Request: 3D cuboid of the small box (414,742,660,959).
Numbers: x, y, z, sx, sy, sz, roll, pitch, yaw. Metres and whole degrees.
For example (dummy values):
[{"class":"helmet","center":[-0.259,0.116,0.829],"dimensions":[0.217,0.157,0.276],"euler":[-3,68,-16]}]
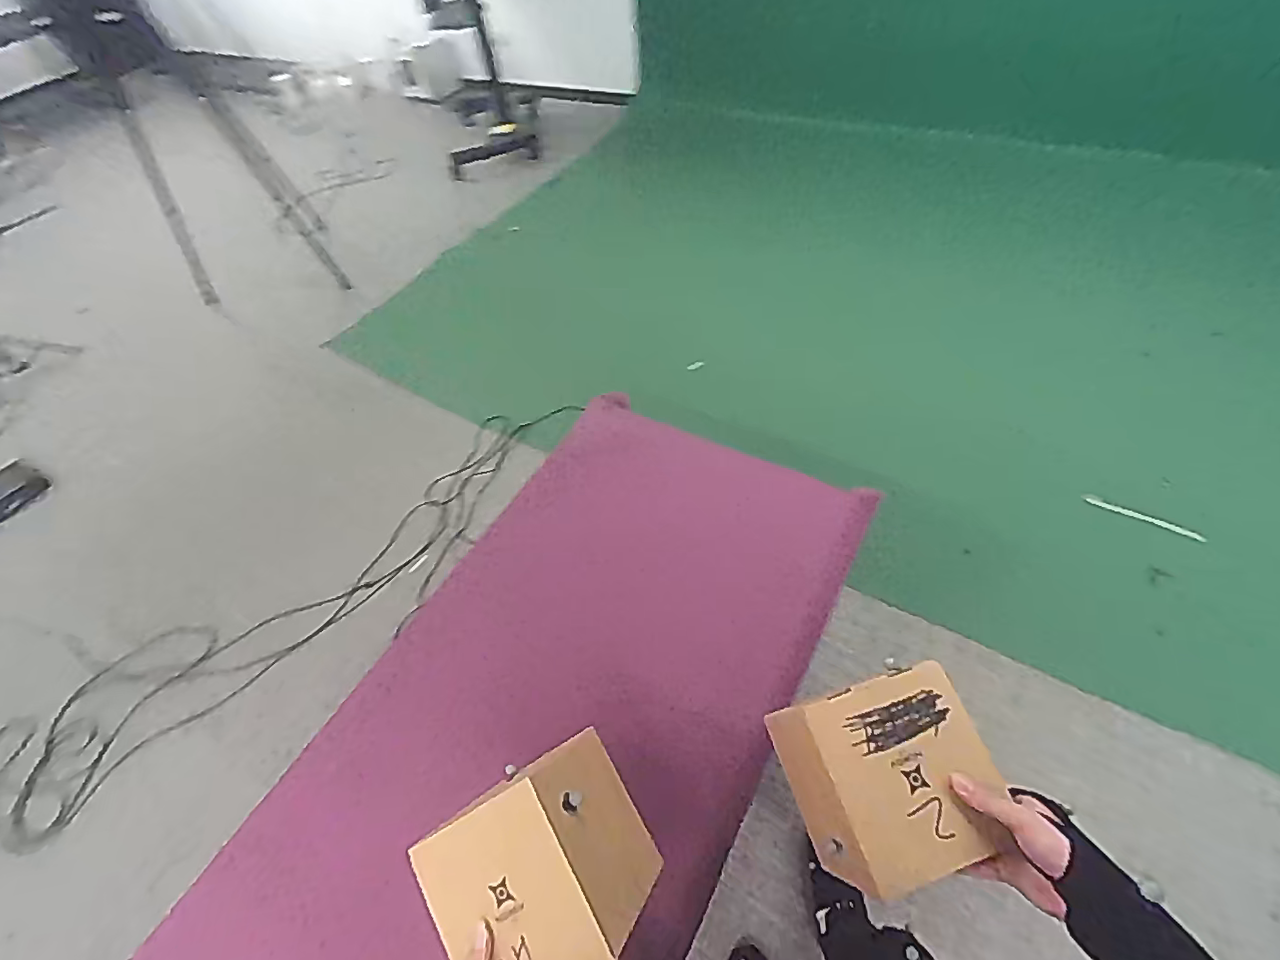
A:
[{"class":"small box","center":[-0.104,0.417,0.596],"dimensions":[0.168,0.176,0.179],"euler":[-35,72,11]}]
